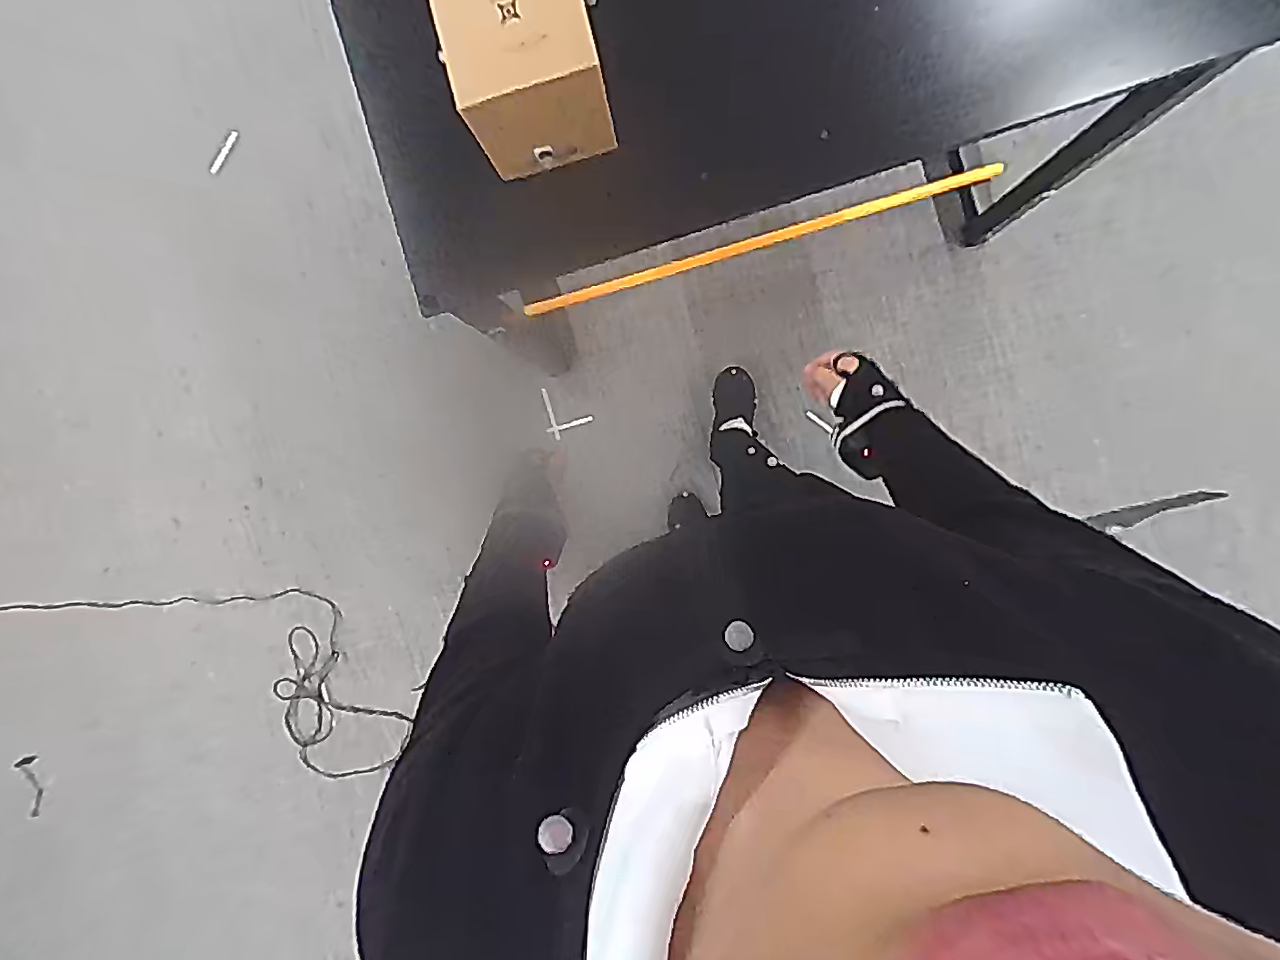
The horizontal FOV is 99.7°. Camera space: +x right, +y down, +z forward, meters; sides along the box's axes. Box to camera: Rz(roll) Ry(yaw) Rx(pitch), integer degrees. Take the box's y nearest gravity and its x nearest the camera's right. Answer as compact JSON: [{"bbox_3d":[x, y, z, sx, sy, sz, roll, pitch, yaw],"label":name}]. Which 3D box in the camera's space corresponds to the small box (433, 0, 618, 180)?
[{"bbox_3d":[-0.133,-0.513,0.665,0.168,0.176,0.179,-15,92,6],"label":"small box"}]
